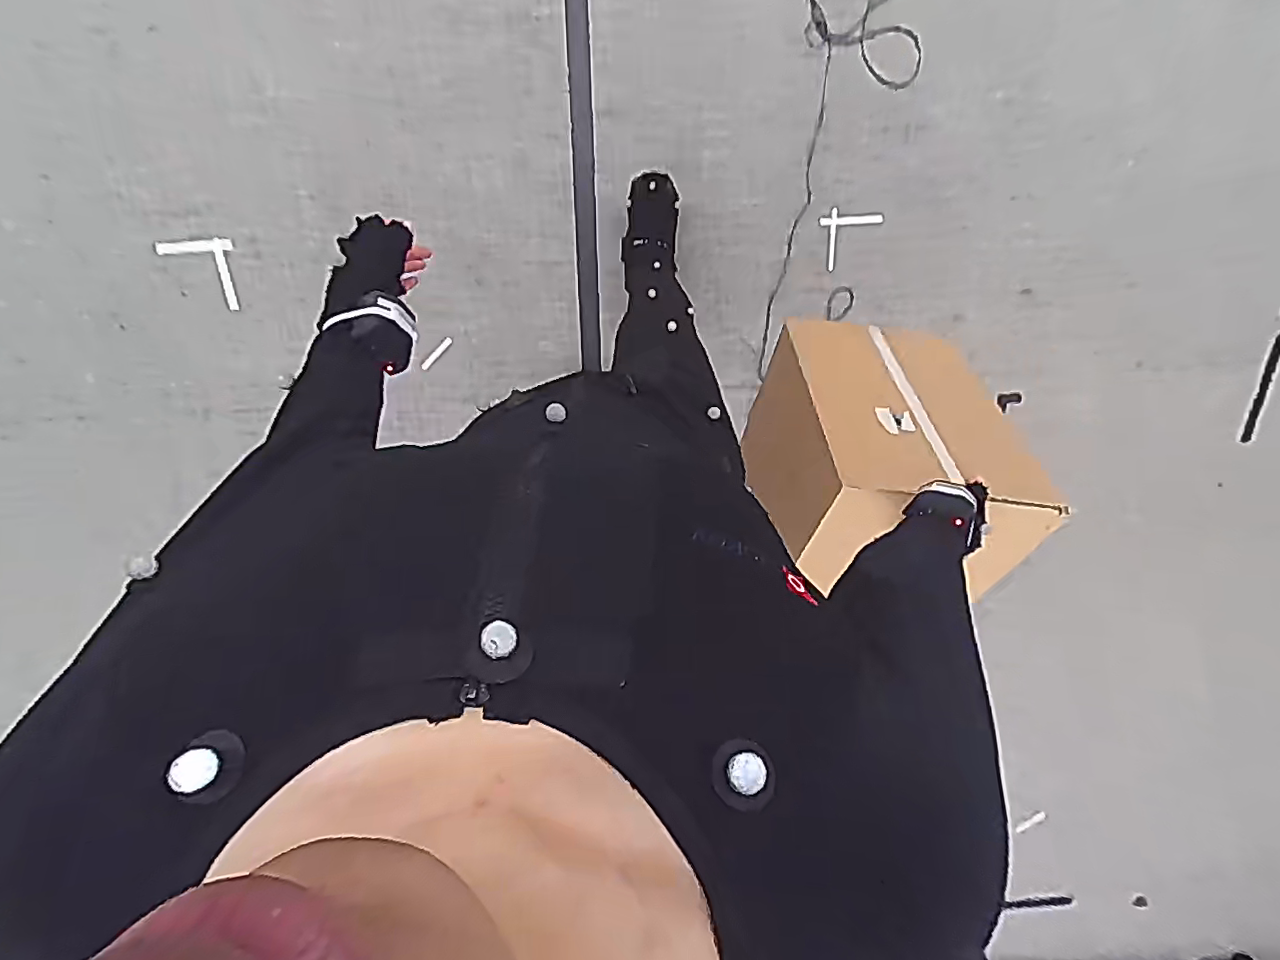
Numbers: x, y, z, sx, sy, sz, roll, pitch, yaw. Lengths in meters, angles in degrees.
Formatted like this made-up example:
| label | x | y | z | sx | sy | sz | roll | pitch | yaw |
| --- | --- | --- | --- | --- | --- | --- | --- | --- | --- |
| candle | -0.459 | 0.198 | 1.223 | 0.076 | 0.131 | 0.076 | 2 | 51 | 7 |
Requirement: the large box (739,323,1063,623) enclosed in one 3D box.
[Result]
| label | x | y | z | sx | sy | sz | roll | pitch | yaw |
| --- | --- | --- | --- | --- | --- | --- | --- | --- | --- |
| large box | 0.386 | -0.015 | 0.939 | 0.320 | 0.408 | 0.320 | 6 | 136 | -6 |
